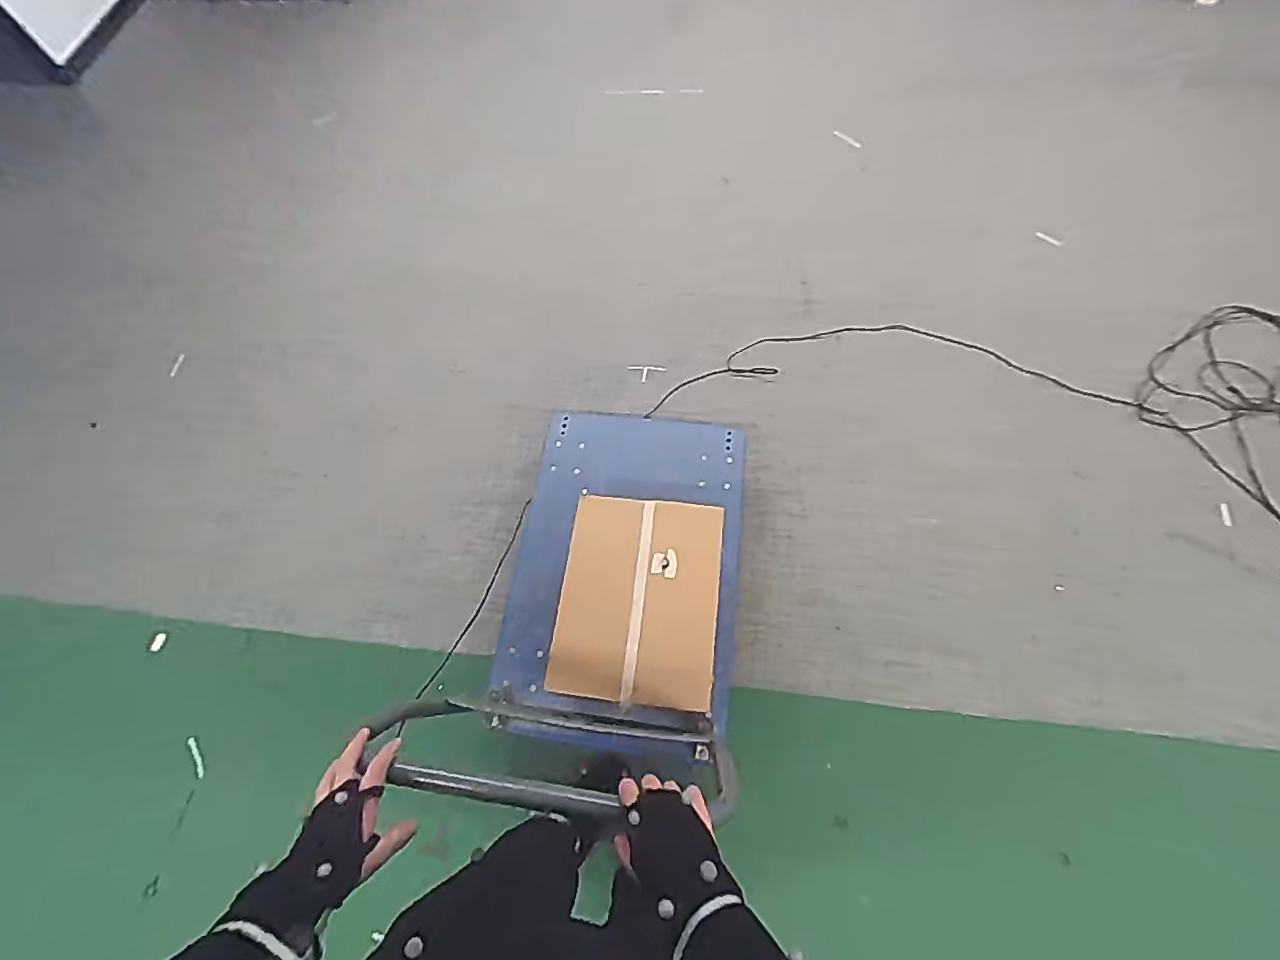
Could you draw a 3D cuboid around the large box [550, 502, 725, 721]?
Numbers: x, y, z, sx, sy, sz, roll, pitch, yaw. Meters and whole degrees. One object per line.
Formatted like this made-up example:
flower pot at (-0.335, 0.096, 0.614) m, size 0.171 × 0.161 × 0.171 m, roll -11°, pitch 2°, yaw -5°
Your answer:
large box at (0.014, 0.302, 1.205) m, size 0.320 × 0.320 × 0.408 m, roll 6°, pitch 65°, yaw 6°
